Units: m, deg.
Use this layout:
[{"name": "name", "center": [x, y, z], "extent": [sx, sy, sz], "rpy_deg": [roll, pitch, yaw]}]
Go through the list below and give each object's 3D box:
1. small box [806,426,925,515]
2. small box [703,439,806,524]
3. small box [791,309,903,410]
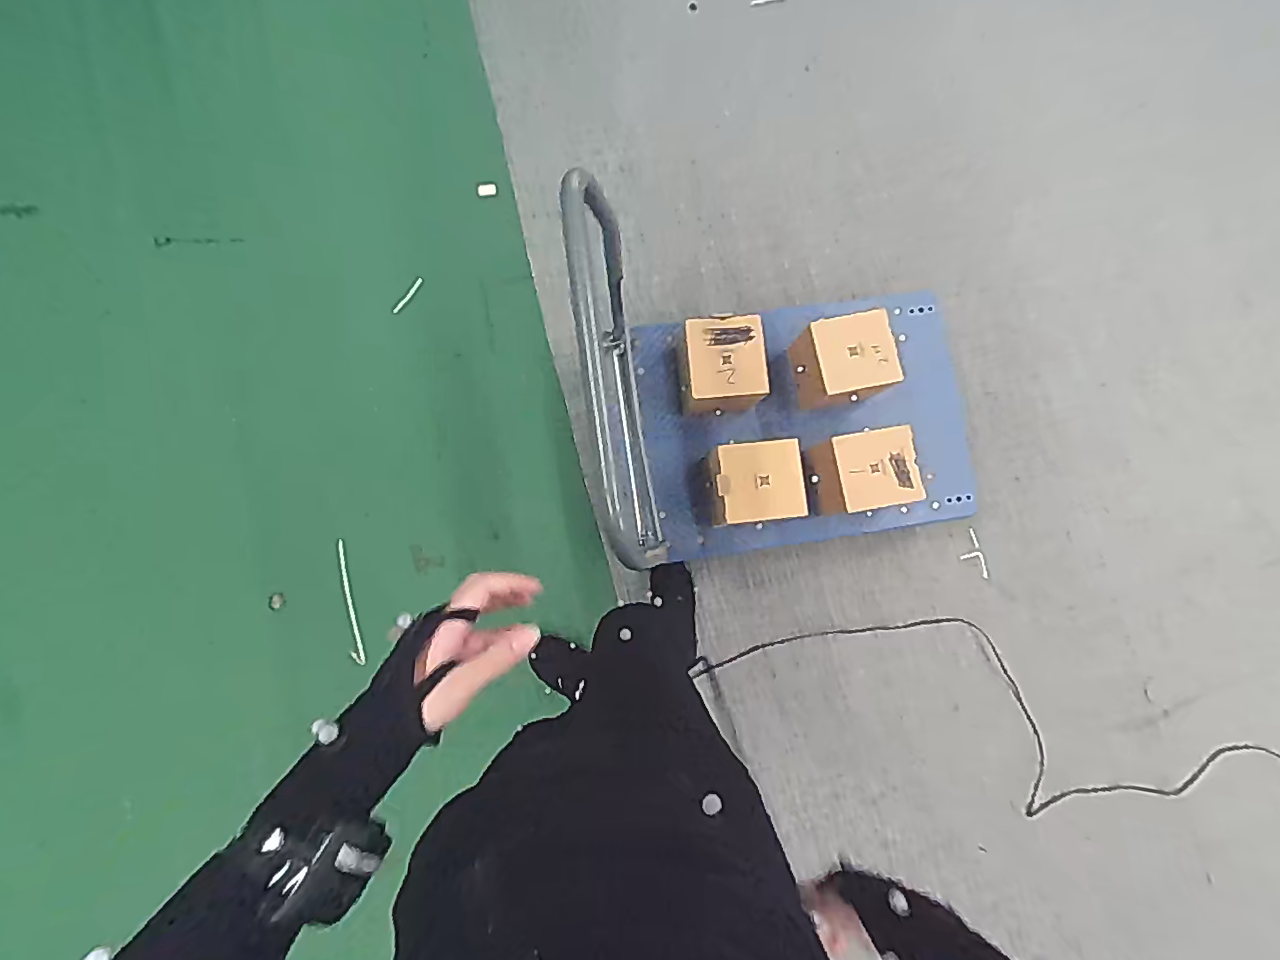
[{"name": "small box", "center": [0.494, -0.016, 1.208], "extent": [0.179, 0.176, 0.168], "rpy_deg": [-9, 84, -3]}, {"name": "small box", "center": [0.247, 0.009, 1.196], "extent": [0.179, 0.176, 0.168], "rpy_deg": [-6, 84, -3]}, {"name": "small box", "center": [0.458, -0.267, 1.233], "extent": [0.179, 0.176, 0.168], "rpy_deg": [-11, 85, -4]}]
